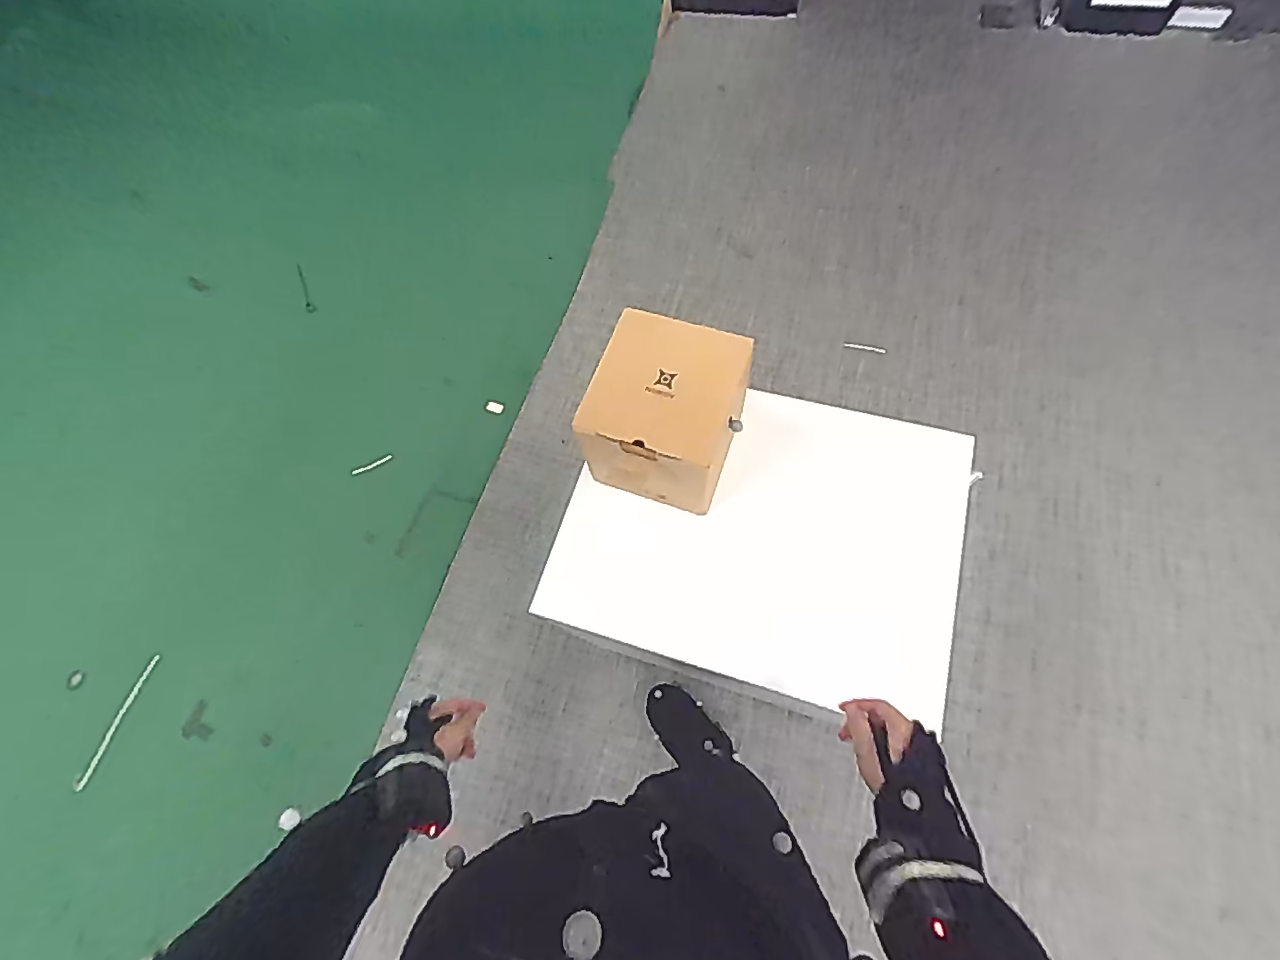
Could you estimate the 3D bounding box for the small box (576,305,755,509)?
[{"bbox_3d":[0.036,-0.086,0.694,0.168,0.176,0.179,17,72,11],"label":"small box"}]
